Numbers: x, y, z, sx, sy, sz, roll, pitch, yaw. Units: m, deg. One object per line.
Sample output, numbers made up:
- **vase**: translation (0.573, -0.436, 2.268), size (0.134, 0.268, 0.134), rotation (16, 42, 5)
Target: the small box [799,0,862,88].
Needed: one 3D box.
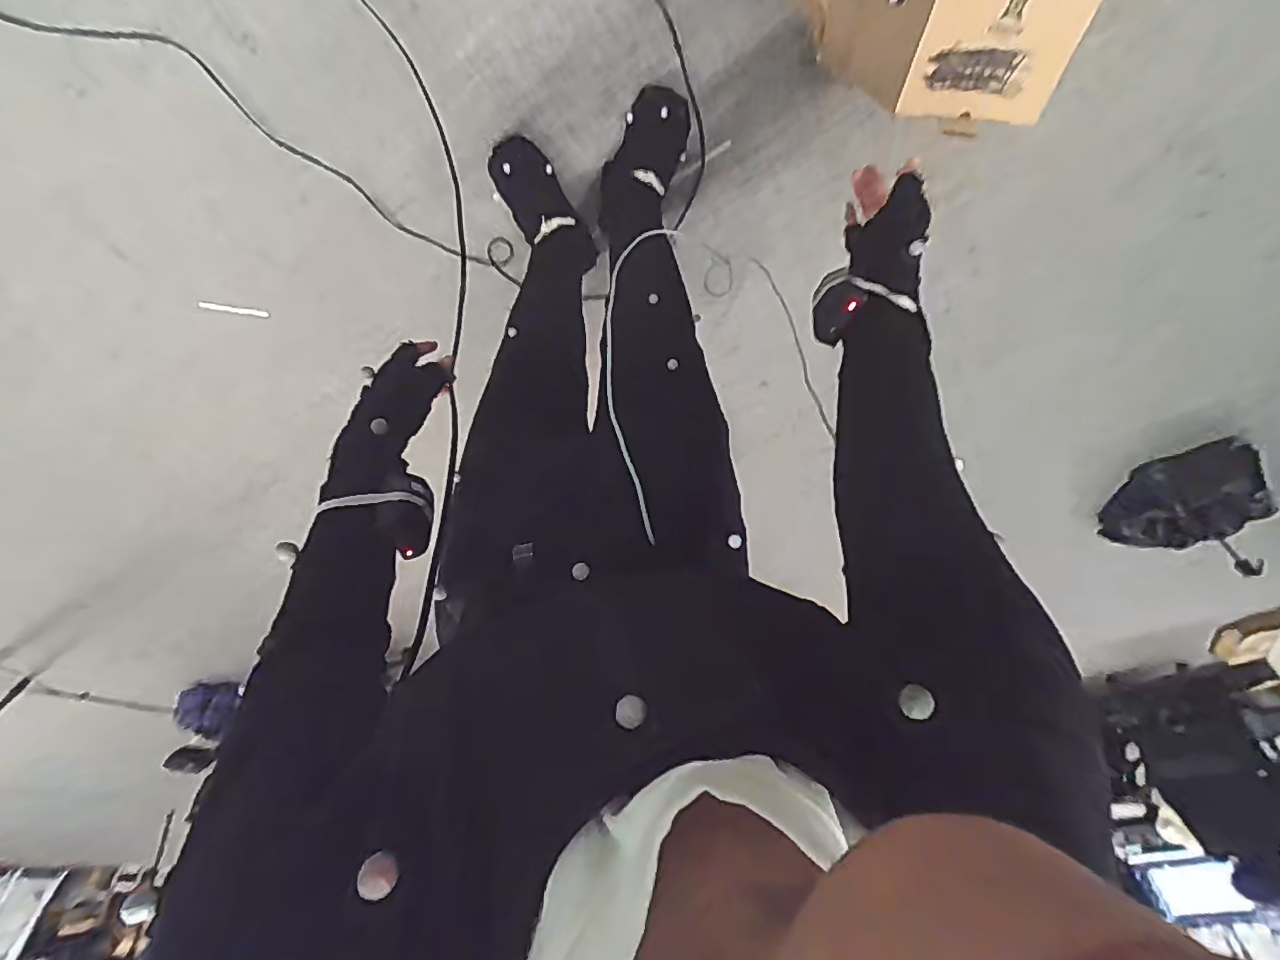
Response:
- **small box**: translation (0.341, -0.737, 0.799), size (0.179, 0.176, 0.168), rotation (-29, 133, 24)

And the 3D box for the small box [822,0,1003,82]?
- **small box**: translation (0.347, -0.637, 0.688), size (0.168, 0.176, 0.179), rotation (-4, 139, 0)
